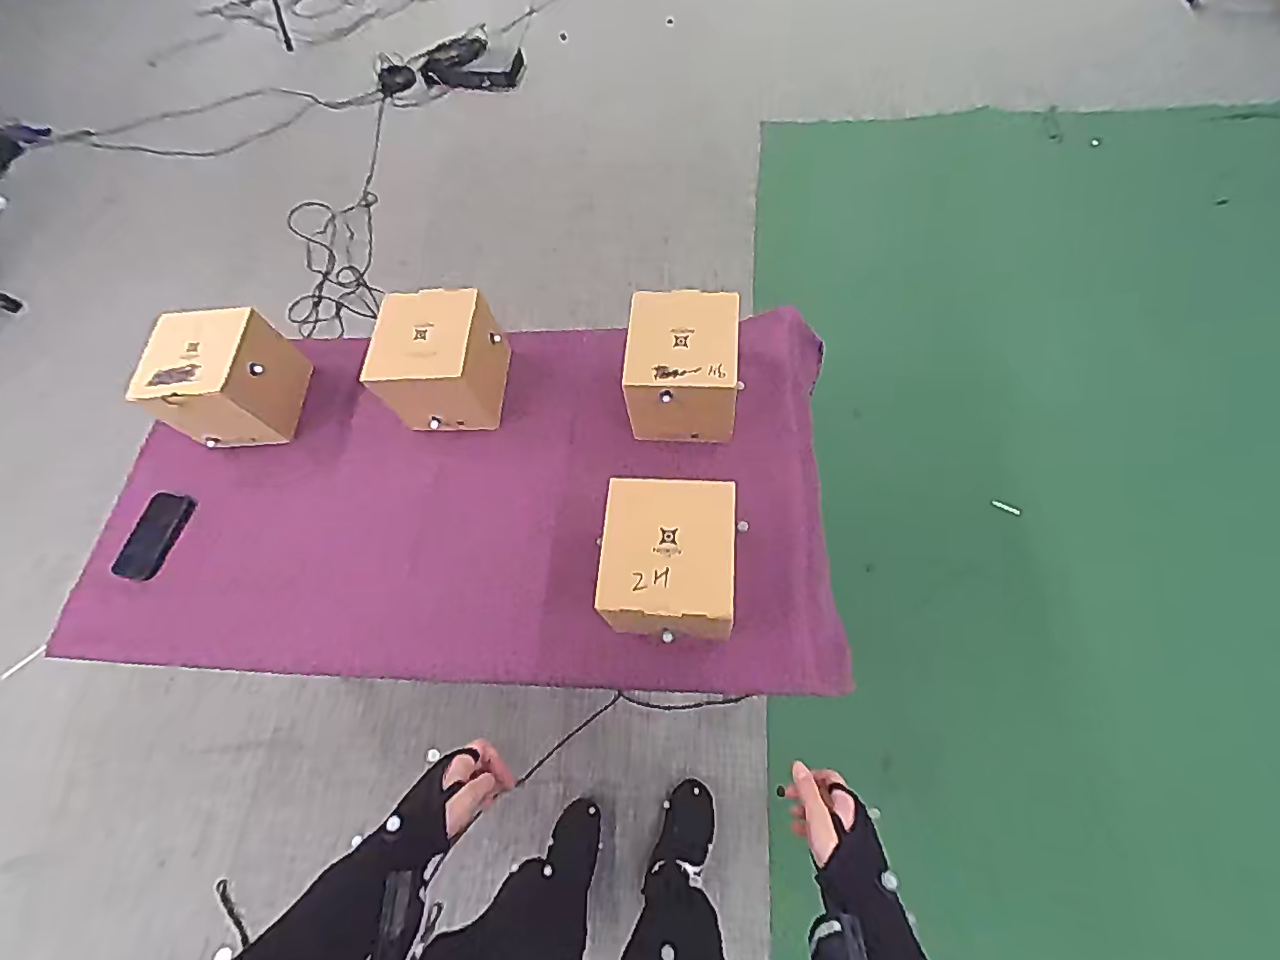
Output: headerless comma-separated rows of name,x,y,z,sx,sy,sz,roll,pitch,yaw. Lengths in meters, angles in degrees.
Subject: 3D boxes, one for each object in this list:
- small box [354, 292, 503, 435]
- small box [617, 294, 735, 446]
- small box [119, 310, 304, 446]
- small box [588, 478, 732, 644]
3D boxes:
small box,-0.344,-0.194,0.922,0.168,0.176,0.179,-1,66,7
small box,0.063,-0.173,0.867,0.168,0.176,0.179,2,65,8
small box,-0.732,-0.169,0.949,0.168,0.176,0.179,-3,64,4
small box,0.036,0.113,0.731,0.168,0.176,0.179,2,65,9
